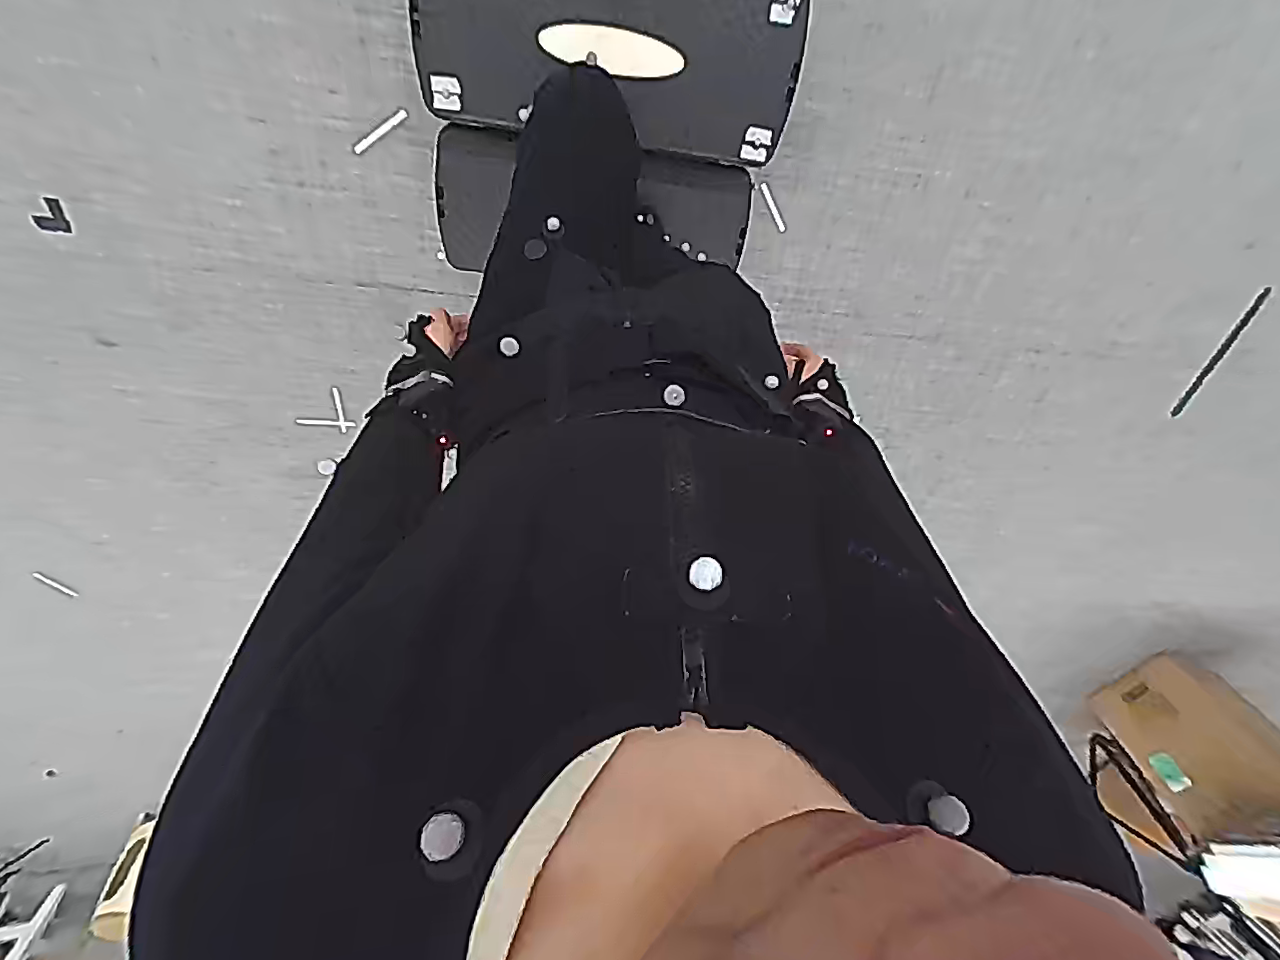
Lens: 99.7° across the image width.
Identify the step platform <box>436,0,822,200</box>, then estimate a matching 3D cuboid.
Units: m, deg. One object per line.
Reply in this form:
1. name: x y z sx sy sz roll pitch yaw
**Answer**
1. step platform: -0.020 -0.754 1.019 0.684 0.204 0.286 7 123 -10
